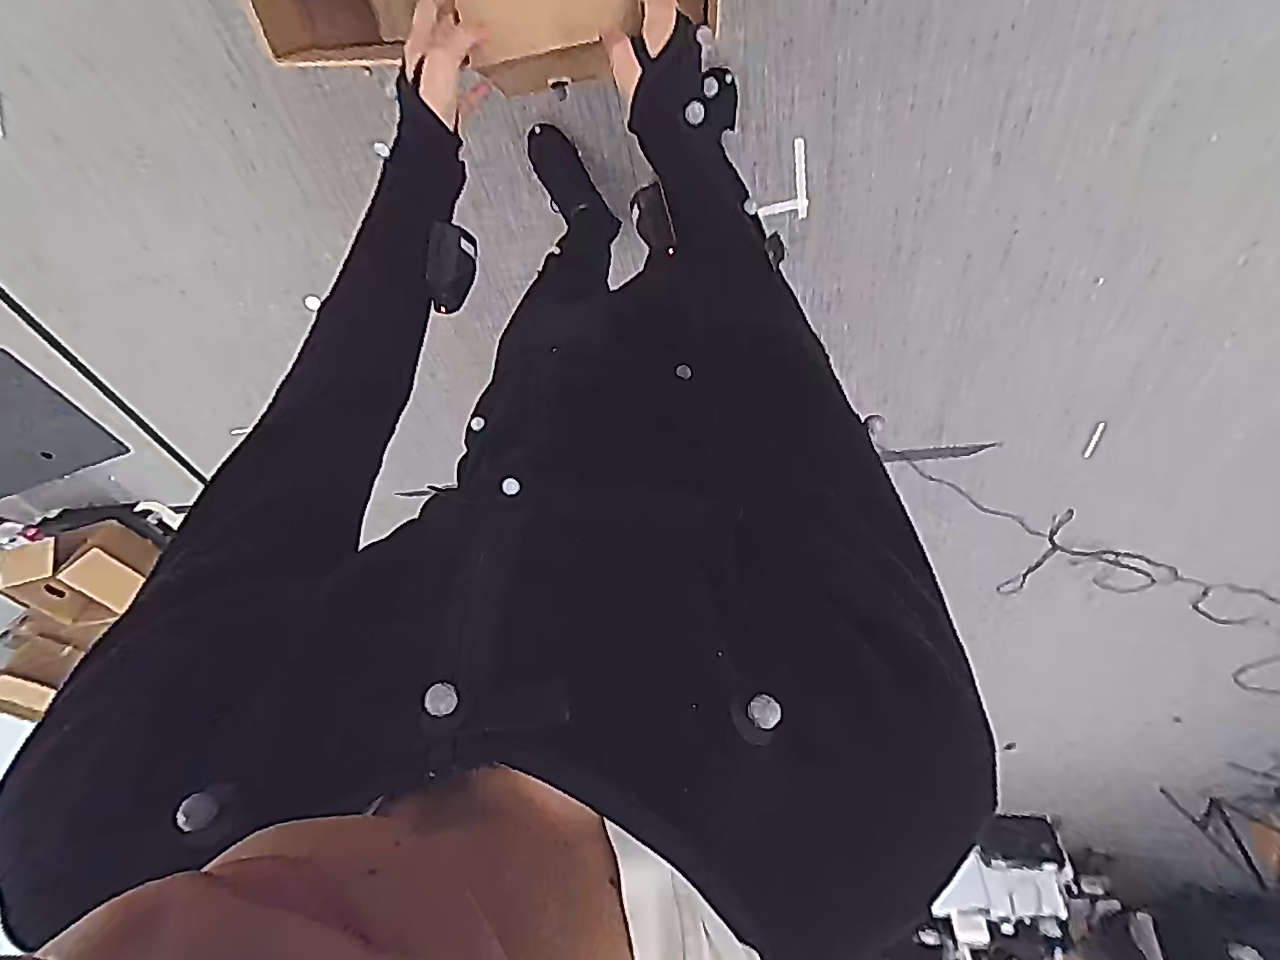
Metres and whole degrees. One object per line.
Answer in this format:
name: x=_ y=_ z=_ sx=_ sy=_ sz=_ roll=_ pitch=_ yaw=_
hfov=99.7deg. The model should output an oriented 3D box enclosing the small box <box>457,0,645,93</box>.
small box: x=-0.090 y=-0.510 z=0.526 sx=0.168 sy=0.176 sz=0.179 roll=-8 pitch=116 yaw=4
